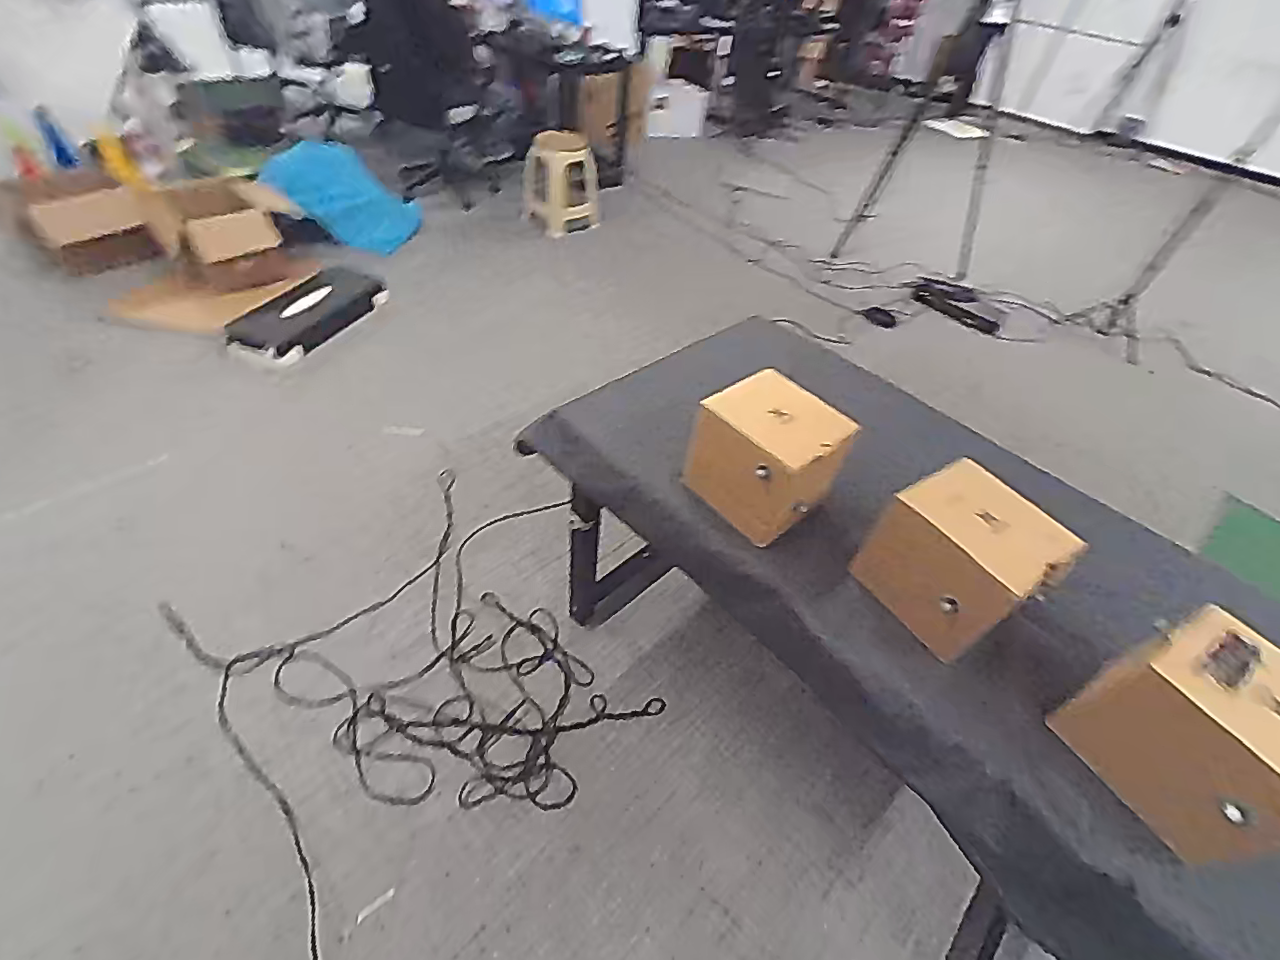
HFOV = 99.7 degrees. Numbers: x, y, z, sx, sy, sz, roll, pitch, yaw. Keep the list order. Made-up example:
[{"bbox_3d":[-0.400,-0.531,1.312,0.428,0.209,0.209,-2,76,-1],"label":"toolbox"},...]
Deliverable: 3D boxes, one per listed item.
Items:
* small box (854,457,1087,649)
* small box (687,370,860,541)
[{"bbox_3d":[0.433,0.104,0.737,0.168,0.176,0.179,-21,51,-27],"label":"small box"},{"bbox_3d":[0.196,-0.039,0.841,0.168,0.176,0.179,-29,57,-32],"label":"small box"}]
